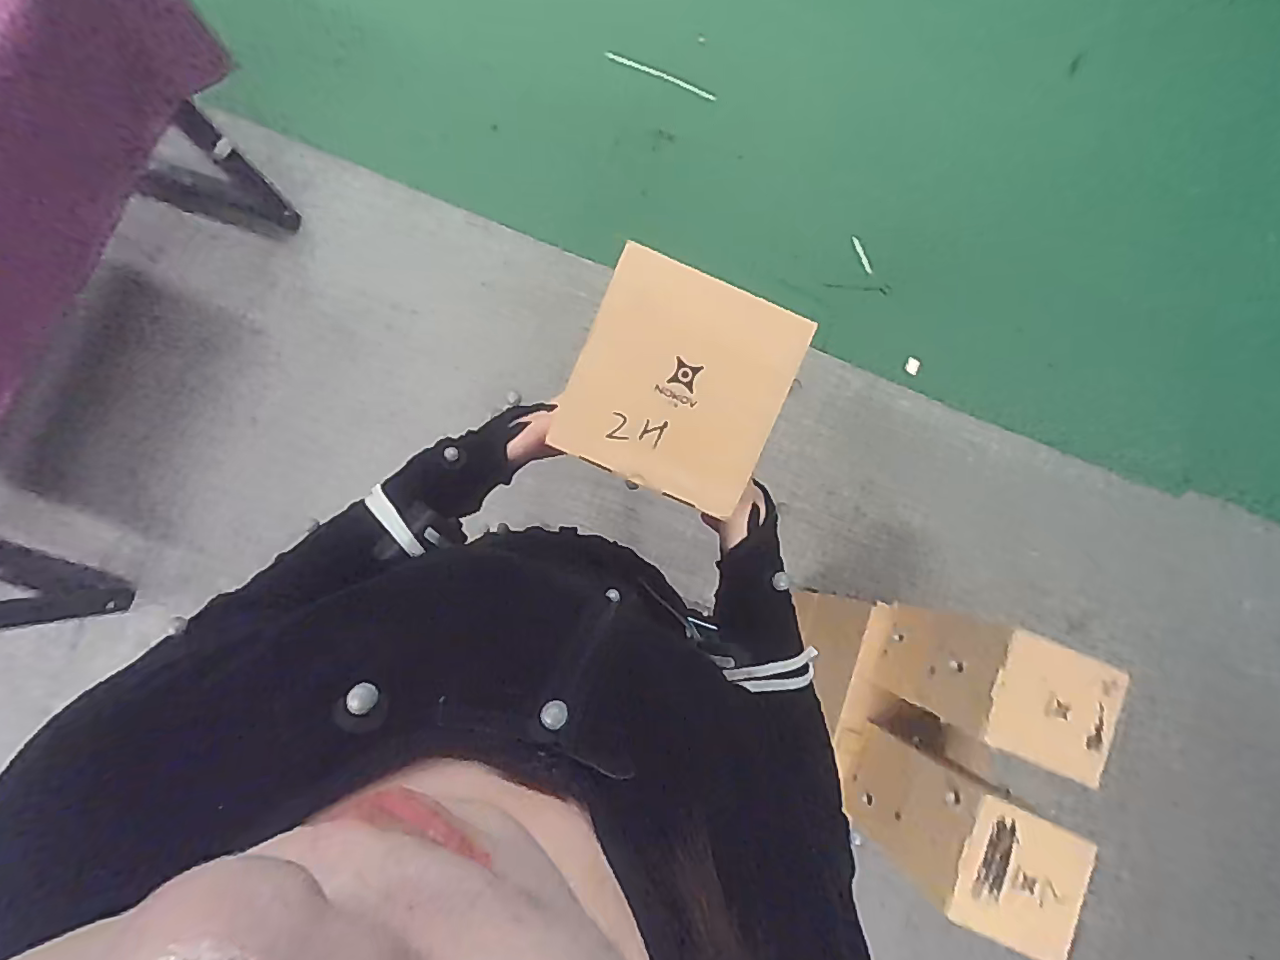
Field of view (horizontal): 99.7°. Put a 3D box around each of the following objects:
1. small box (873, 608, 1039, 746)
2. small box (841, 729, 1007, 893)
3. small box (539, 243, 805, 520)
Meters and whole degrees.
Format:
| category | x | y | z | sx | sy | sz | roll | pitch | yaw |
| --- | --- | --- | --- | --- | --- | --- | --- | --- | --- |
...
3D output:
| category | x | y | z | sx | sy | sz | roll | pitch | yaw |
| --- | --- | --- | --- | --- | --- | --- | --- | --- | --- |
| small box | 0.567 | 0.346 | 0.991 | 0.179 | 0.176 | 0.168 | 22 | 84 | 1 |
| small box | 0.490 | 0.568 | 0.959 | 0.179 | 0.176 | 0.168 | 26 | 82 | -1 |
| small box | 0.024 | -0.083 | 0.512 | 0.168 | 0.176 | 0.179 | 23 | 95 | -1 |
